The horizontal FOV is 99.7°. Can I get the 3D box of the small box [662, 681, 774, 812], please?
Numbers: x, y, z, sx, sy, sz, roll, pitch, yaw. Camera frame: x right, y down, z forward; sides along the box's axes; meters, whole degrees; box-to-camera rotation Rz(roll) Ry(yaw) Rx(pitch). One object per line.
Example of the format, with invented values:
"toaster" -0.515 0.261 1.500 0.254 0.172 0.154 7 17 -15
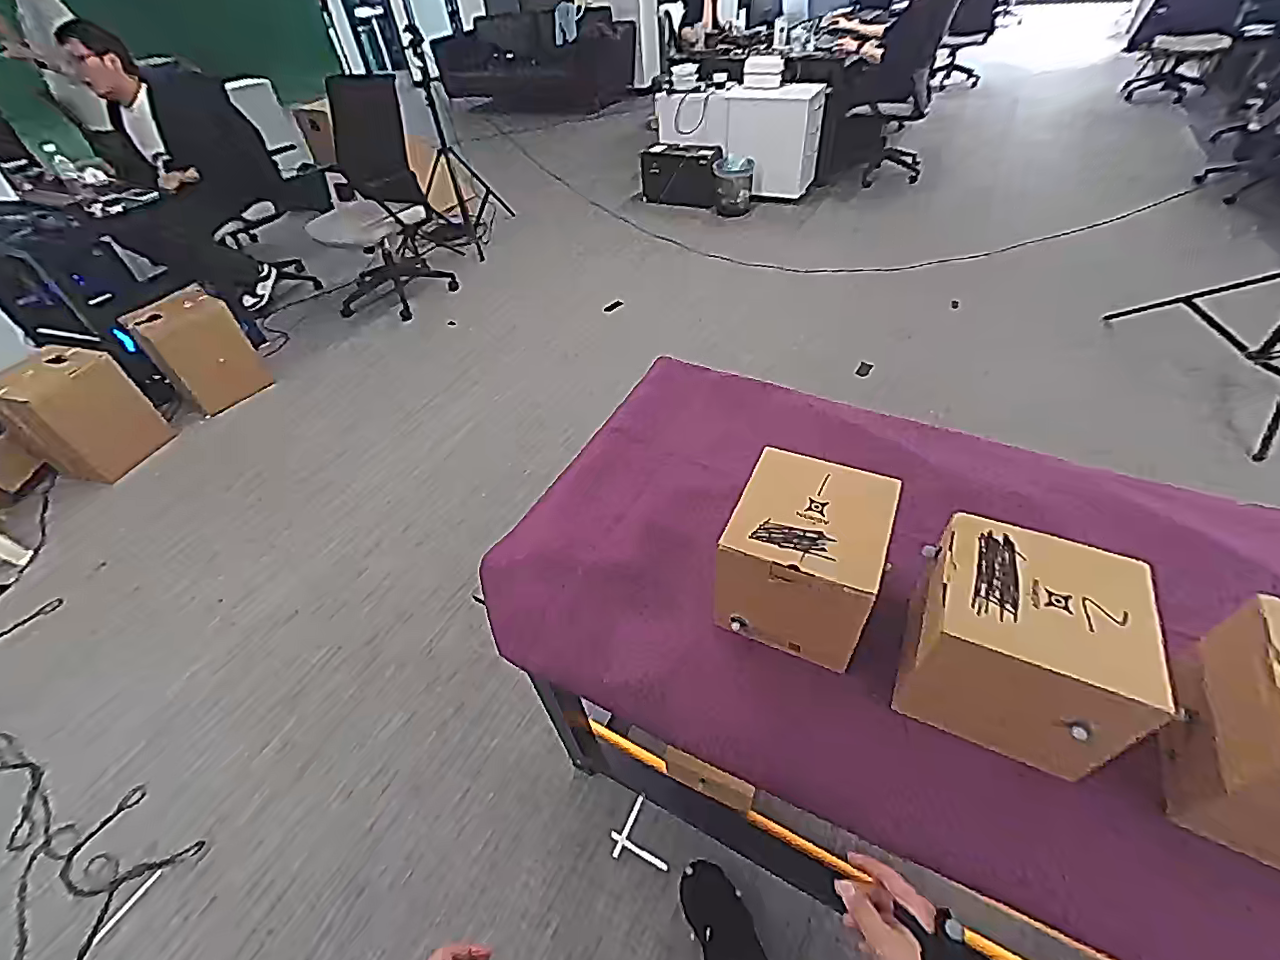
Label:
"small box" 0.160 0.543 1.094 0.179 0.176 0.168 14 50 20
